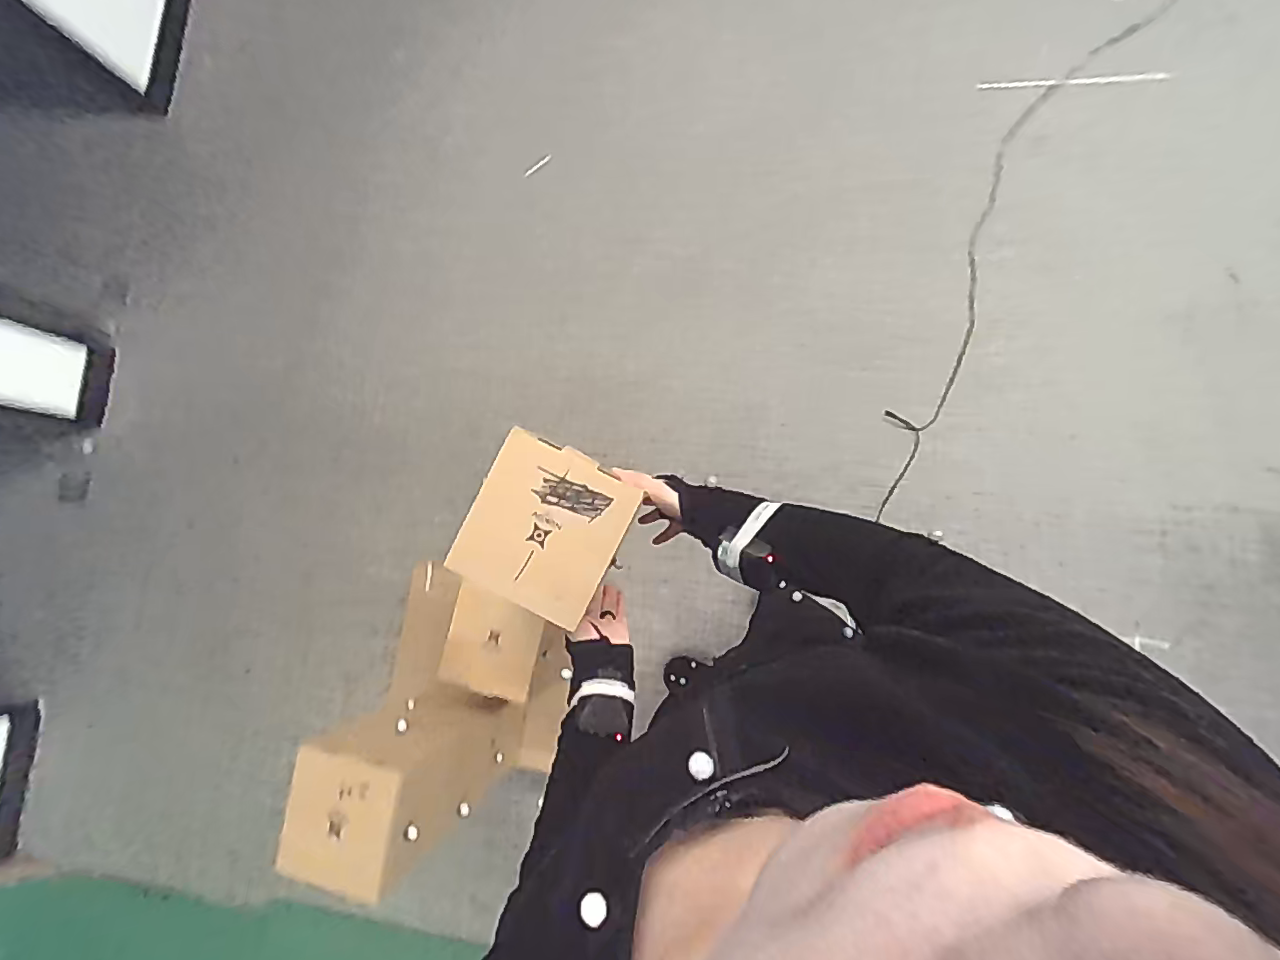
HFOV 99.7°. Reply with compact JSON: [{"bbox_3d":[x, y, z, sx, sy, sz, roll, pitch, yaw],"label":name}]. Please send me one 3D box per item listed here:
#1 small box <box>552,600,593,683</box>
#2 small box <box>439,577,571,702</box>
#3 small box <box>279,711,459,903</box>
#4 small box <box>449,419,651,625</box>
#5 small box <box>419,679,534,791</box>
[{"bbox_3d":[-0.214,0.311,1.150,0.179,0.176,0.168,11,83,13],"label":"small box"},{"bbox_3d":[-0.233,0.279,0.991,0.168,0.176,0.179,11,84,12],"label":"small box"},{"bbox_3d":[-0.398,0.480,0.823,0.168,0.176,0.179,8,85,12],"label":"small box"},{"bbox_3d":[-0.098,0.045,0.665,0.168,0.176,0.179,27,91,2],"label":"small box"},{"bbox_3d":[-0.350,0.518,1.148,0.179,0.176,0.168,10,85,13],"label":"small box"}]
